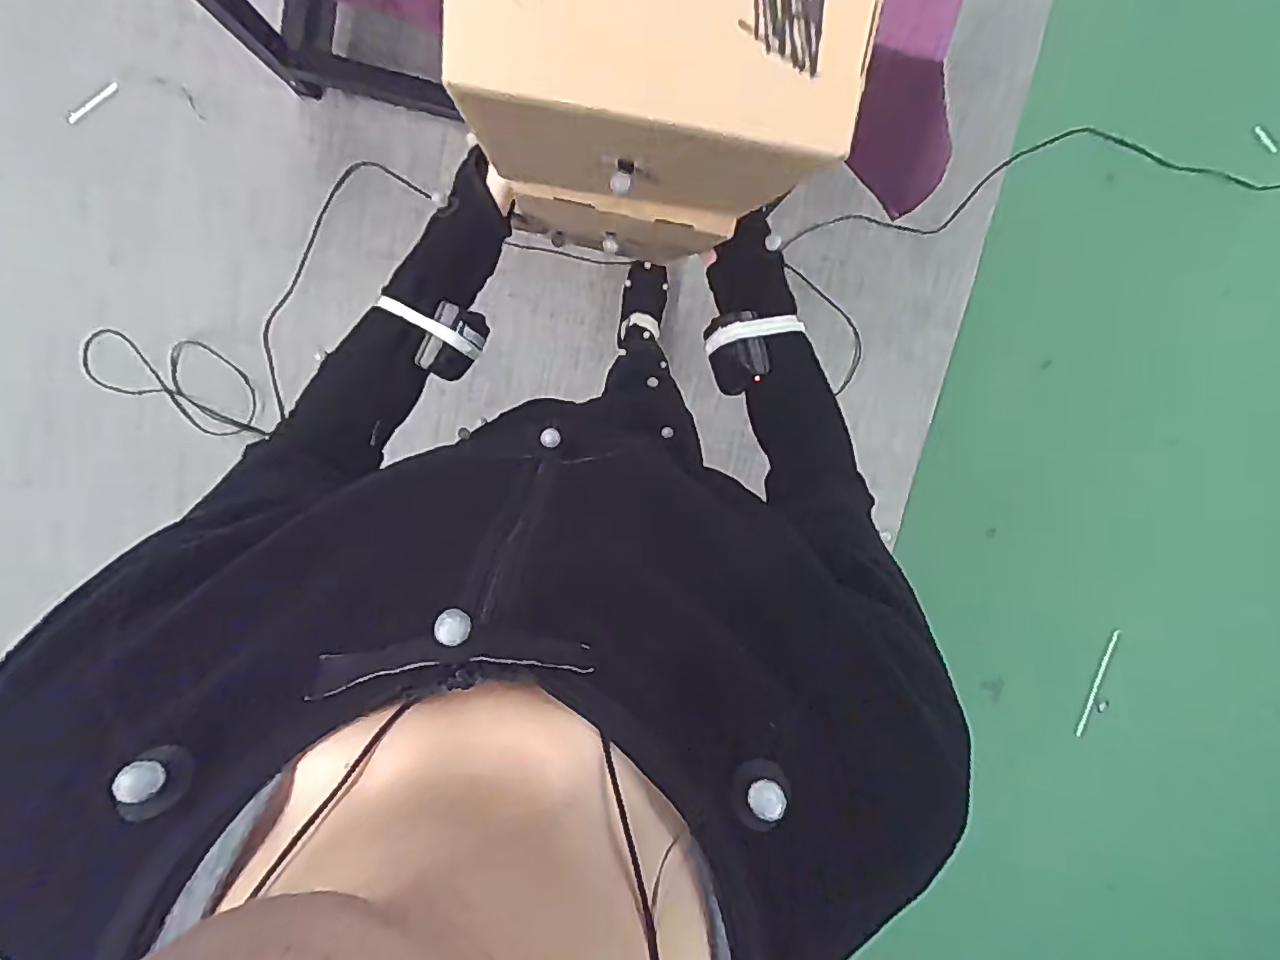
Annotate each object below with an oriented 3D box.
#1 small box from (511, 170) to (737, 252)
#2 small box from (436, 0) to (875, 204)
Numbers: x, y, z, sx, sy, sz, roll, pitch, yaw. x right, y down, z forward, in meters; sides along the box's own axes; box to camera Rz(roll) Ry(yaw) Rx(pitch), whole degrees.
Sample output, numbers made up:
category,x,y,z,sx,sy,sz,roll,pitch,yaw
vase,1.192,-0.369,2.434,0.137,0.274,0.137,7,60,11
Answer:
category,x,y,z,sx,sy,sz,roll,pitch,yaw
small box,-0.006,-0.300,0.436,0.168,0.176,0.179,8,105,-9
small box,0.006,-0.255,0.279,0.179,0.176,0.168,6,106,-8
